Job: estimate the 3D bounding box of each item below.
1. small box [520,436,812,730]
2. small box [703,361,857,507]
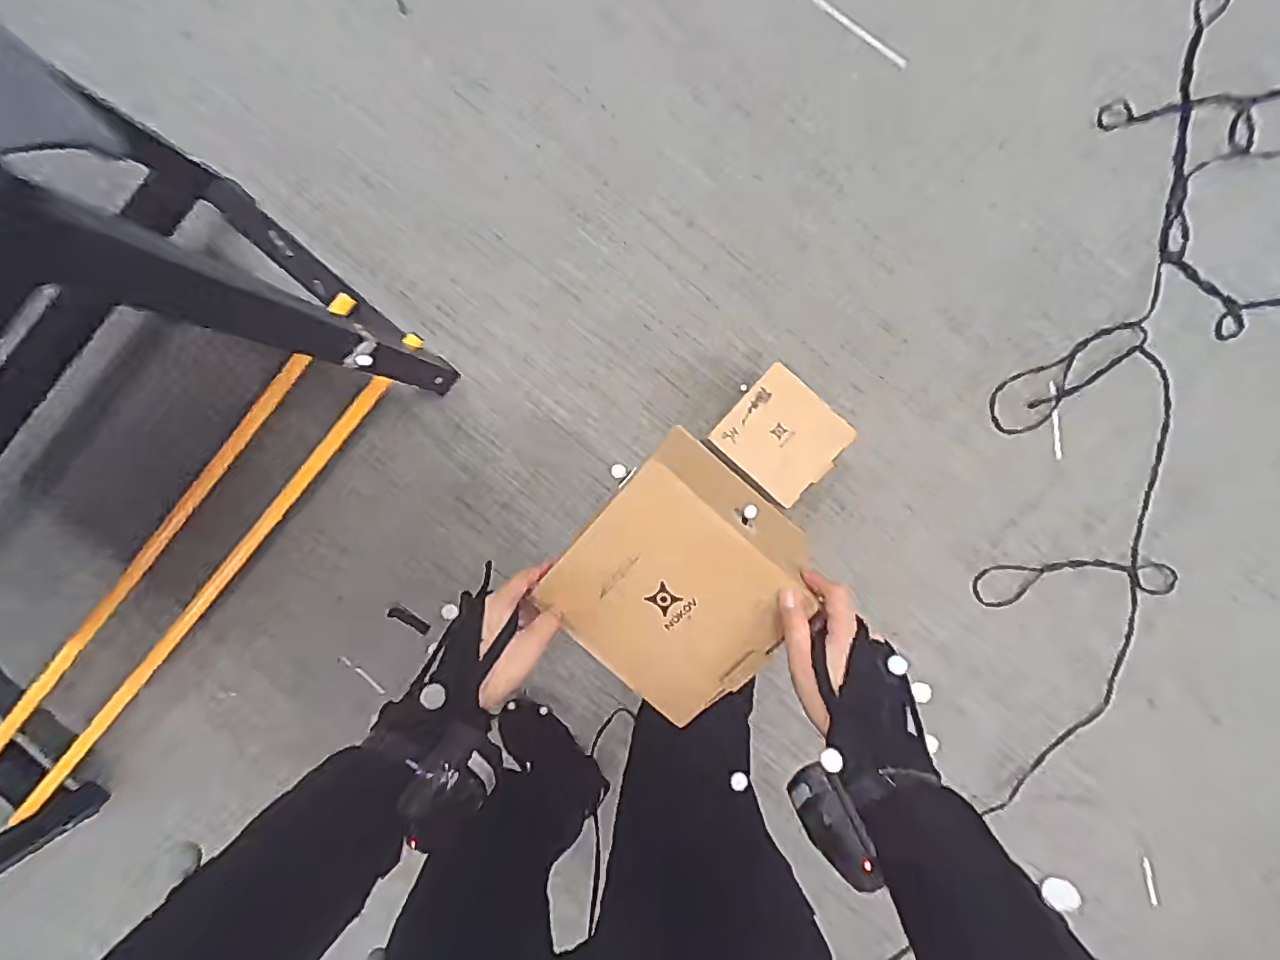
[{"bbox_3d":[0.029,0.078,0.500,0.179,0.176,0.168,41,107,-2],"label":"small box"},{"bbox_3d":[0.228,-0.078,0.930,0.179,0.176,0.168,42,93,-1],"label":"small box"}]
